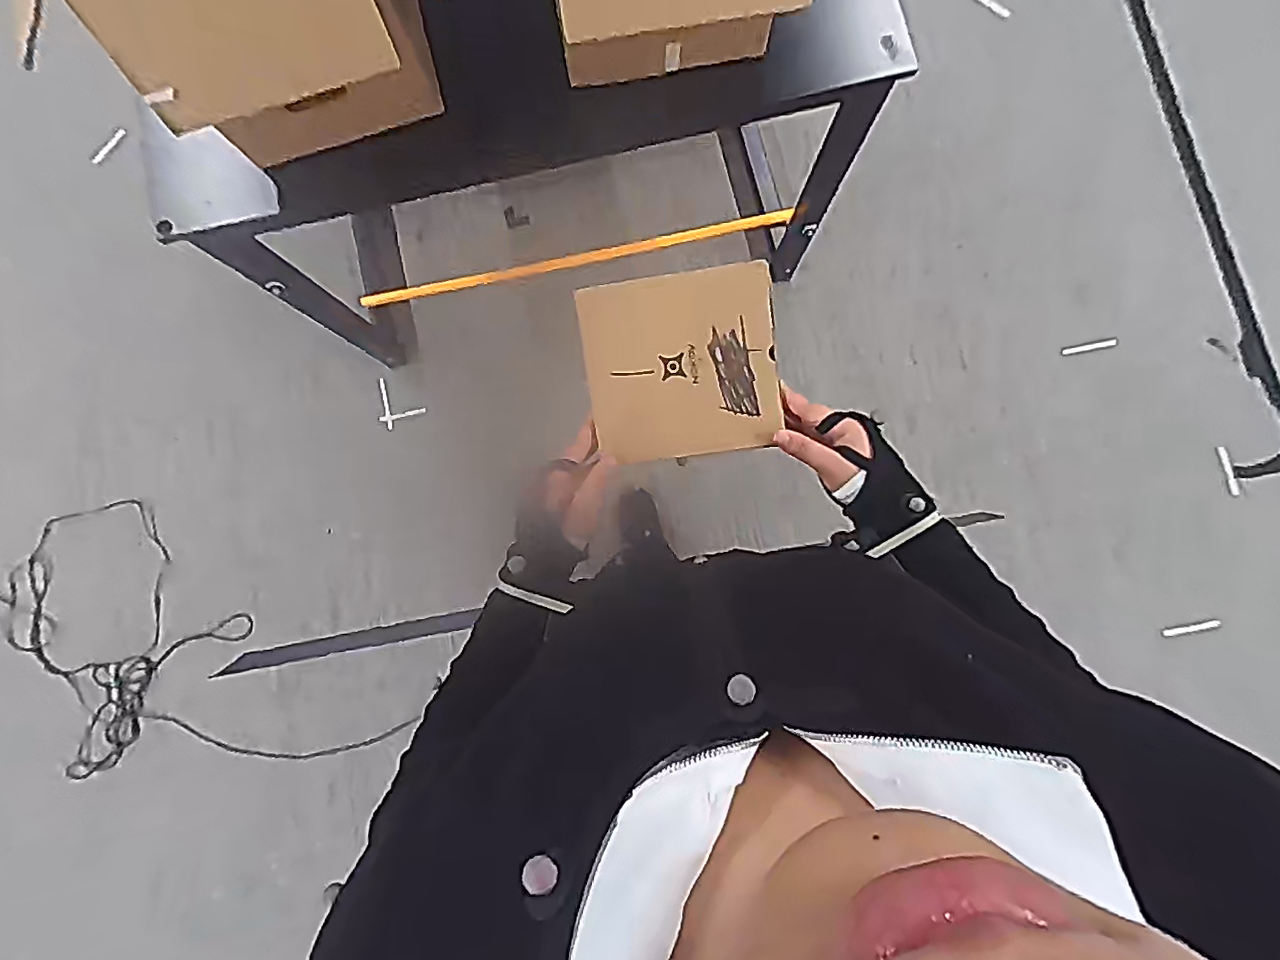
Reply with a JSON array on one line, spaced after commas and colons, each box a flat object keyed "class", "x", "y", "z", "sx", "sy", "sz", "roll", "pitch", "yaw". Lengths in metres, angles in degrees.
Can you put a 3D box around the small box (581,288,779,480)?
[{"class": "small box", "x": 0.041, "y": -0.101, "z": 0.592, "sx": 0.179, "sy": 0.176, "sz": 0.168, "roll": -7, "pitch": 97, "yaw": 3}]
